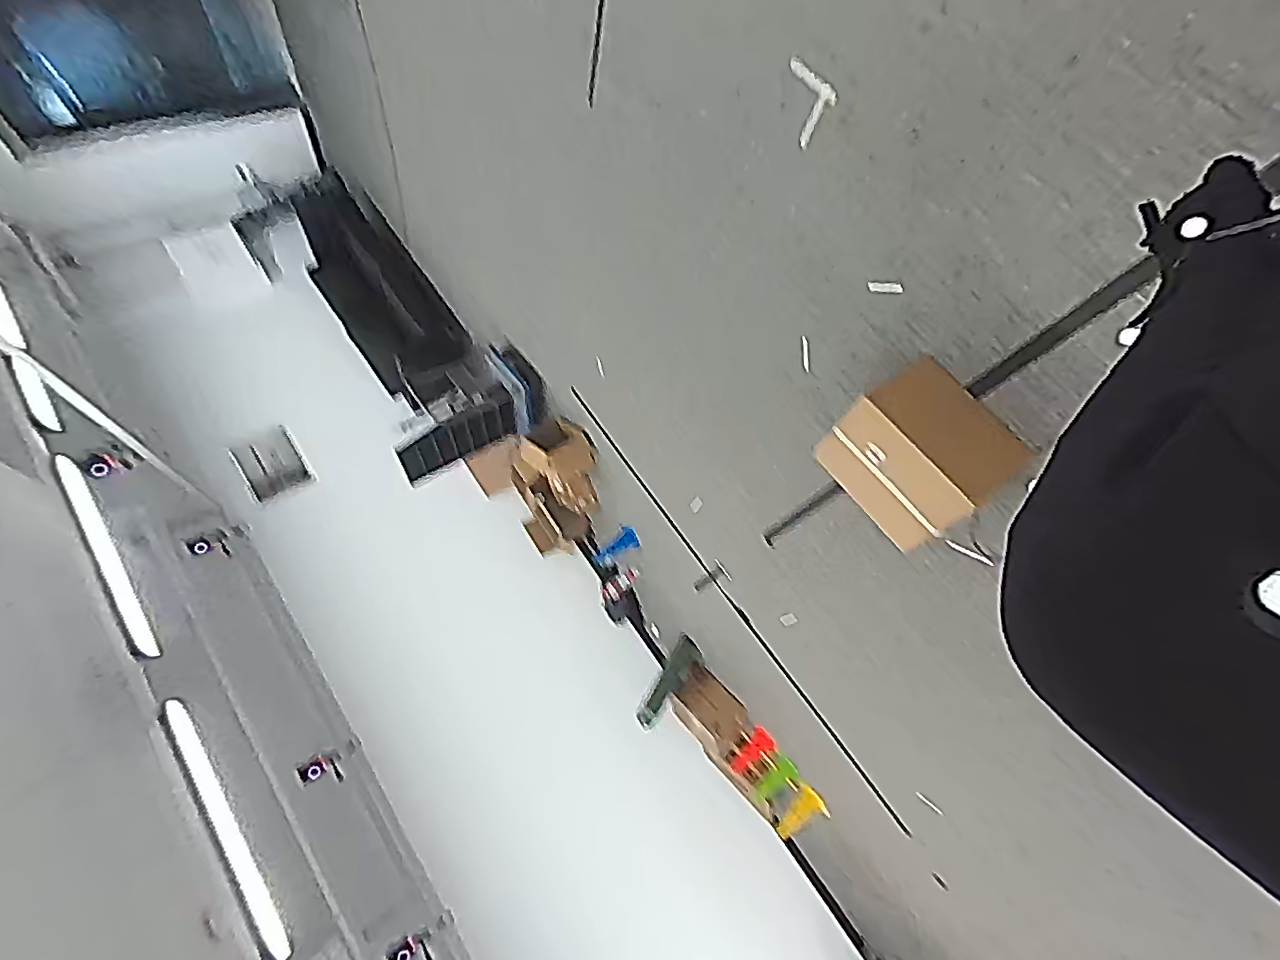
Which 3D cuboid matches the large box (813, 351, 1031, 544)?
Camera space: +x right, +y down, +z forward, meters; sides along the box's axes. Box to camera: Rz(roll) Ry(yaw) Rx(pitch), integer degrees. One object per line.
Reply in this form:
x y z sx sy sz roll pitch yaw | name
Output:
0.805 -0.094 1.583 0.408 0.320 0.320 53 154 17 | large box
